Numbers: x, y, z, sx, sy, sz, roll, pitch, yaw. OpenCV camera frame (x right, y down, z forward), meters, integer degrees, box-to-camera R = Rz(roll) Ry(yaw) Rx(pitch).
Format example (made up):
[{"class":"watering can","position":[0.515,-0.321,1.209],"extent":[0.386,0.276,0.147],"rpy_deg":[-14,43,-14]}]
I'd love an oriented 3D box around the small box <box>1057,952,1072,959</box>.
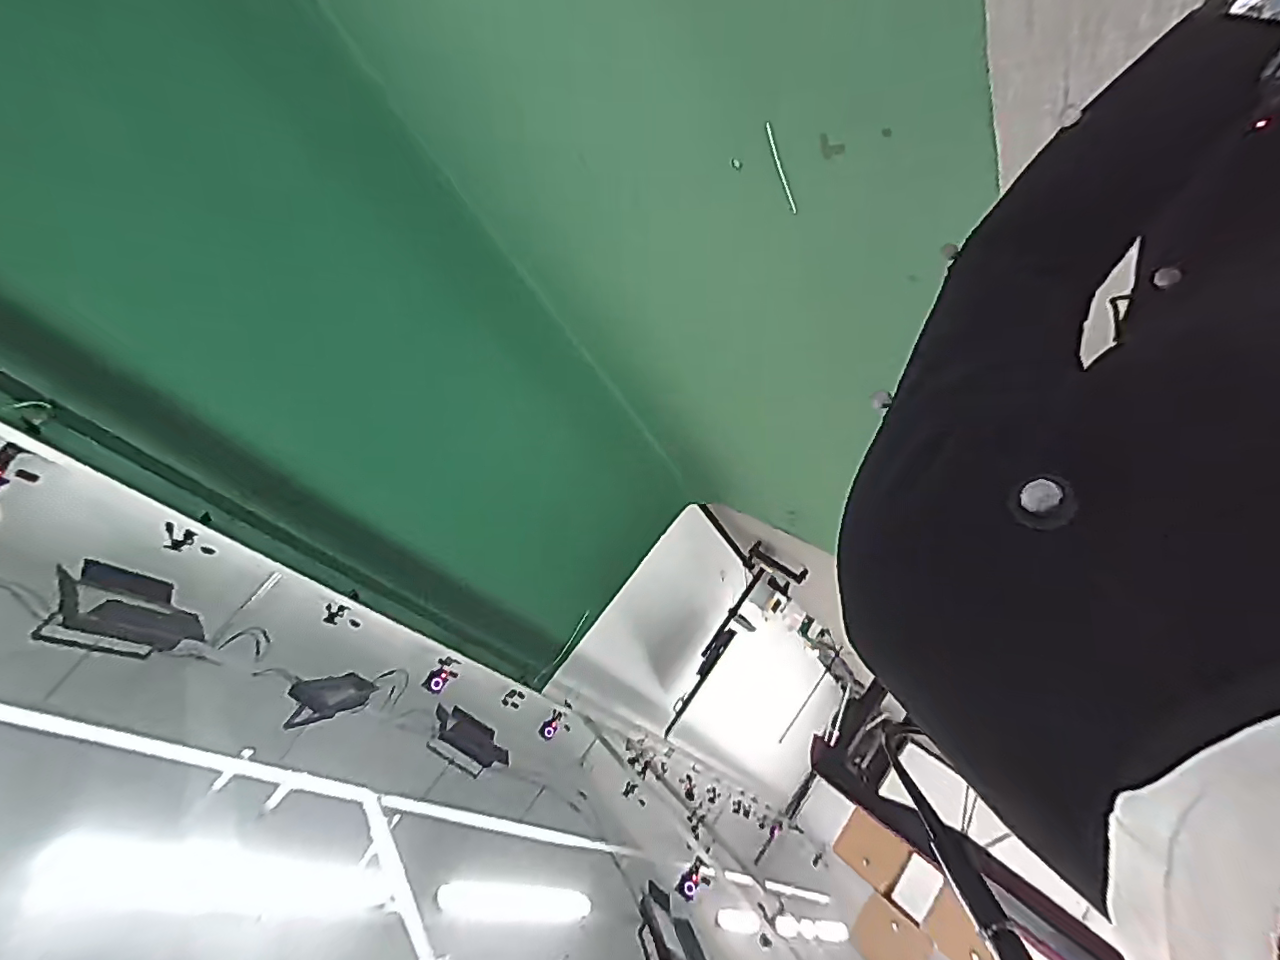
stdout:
[{"class":"small box","position":[1.126,1.346,1.365],"extent":[0.168,0.176,0.179],"rpy_deg":[27,165,45]}]

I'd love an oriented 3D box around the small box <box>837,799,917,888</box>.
[{"class":"small box","position":[0.781,1.186,1.767],"extent":[0.179,0.176,0.168],"rpy_deg":[25,163,46]}]

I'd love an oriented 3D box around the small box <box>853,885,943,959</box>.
[{"class":"small box","position":[0.777,1.357,1.627],"extent":[0.179,0.176,0.168],"rpy_deg":[27,165,45]}]
